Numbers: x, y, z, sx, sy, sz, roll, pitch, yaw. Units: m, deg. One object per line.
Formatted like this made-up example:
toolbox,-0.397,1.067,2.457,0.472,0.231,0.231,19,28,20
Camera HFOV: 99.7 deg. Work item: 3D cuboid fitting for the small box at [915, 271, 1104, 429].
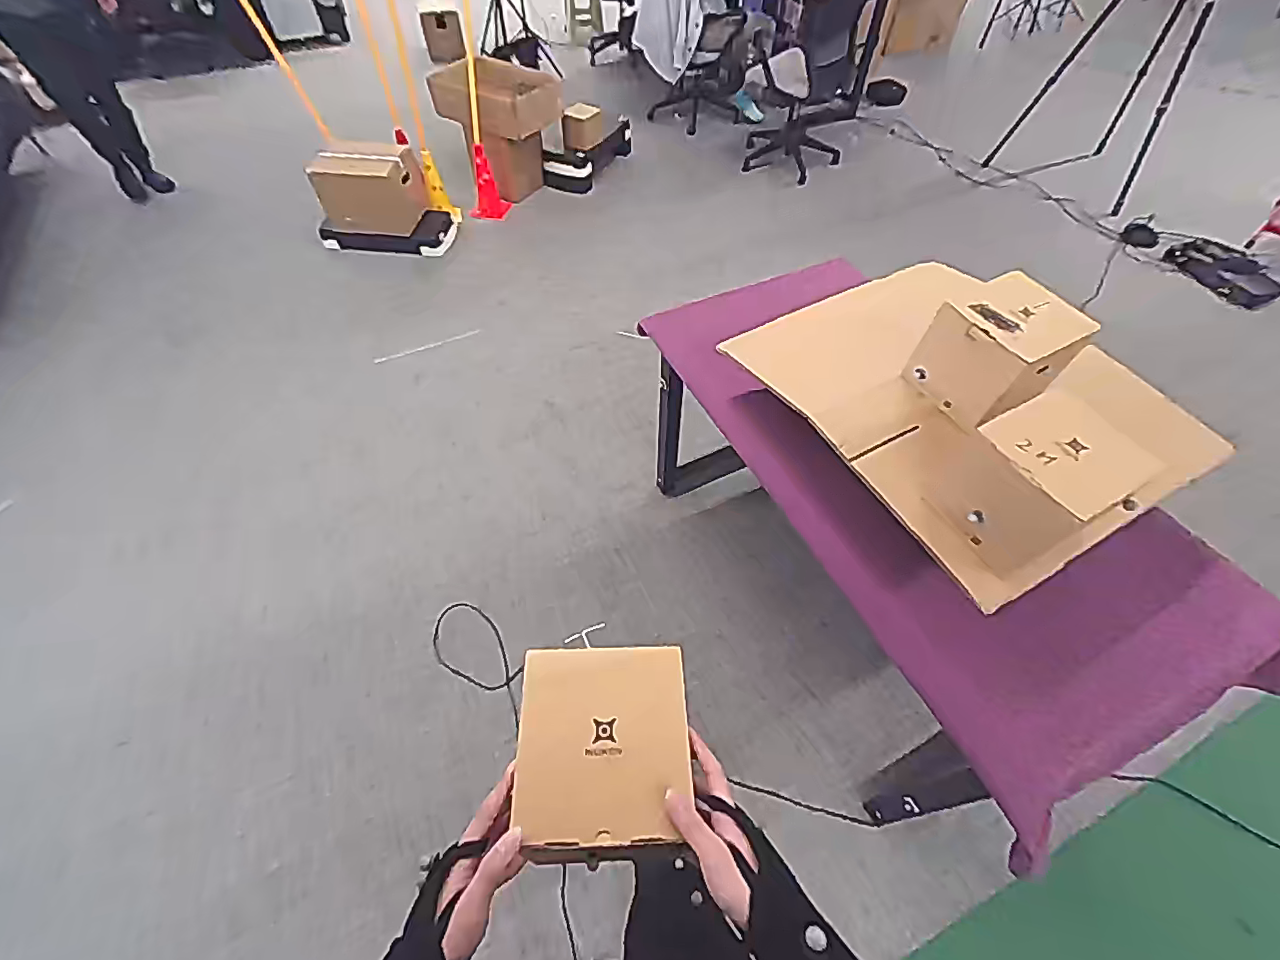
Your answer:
small box,0.598,-0.212,0.908,0.179,0.176,0.168,-24,60,-17

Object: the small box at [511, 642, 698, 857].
small box,-0.037,0.289,0.578,0.168,0.176,0.179,0,52,-3

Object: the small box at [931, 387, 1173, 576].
small box,0.558,0.005,0.762,0.179,0.176,0.168,-24,59,-15
